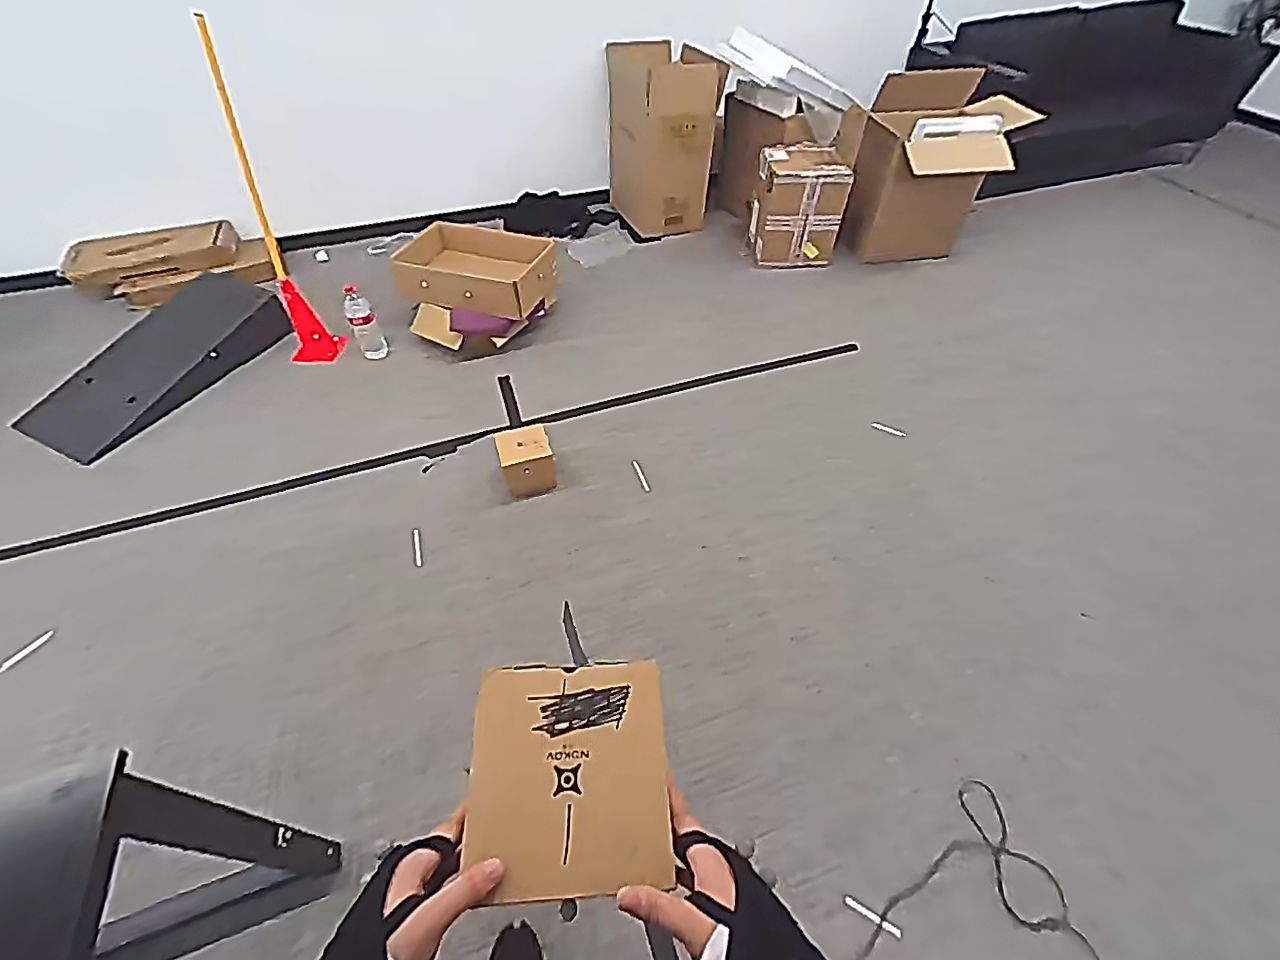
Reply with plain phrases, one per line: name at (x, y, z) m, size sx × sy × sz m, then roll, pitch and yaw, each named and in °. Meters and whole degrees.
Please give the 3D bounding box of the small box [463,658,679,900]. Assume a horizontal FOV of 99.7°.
small box at (-0.060, 0.287, 0.518) m, size 0.168 × 0.176 × 0.179 m, roll -2°, pitch 54°, yaw -4°

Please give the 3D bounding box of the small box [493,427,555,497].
small box at (-0.409, -0.060, 1.924) m, size 0.179 × 0.176 × 0.168 m, roll -14°, pitch 51°, yaw -13°
